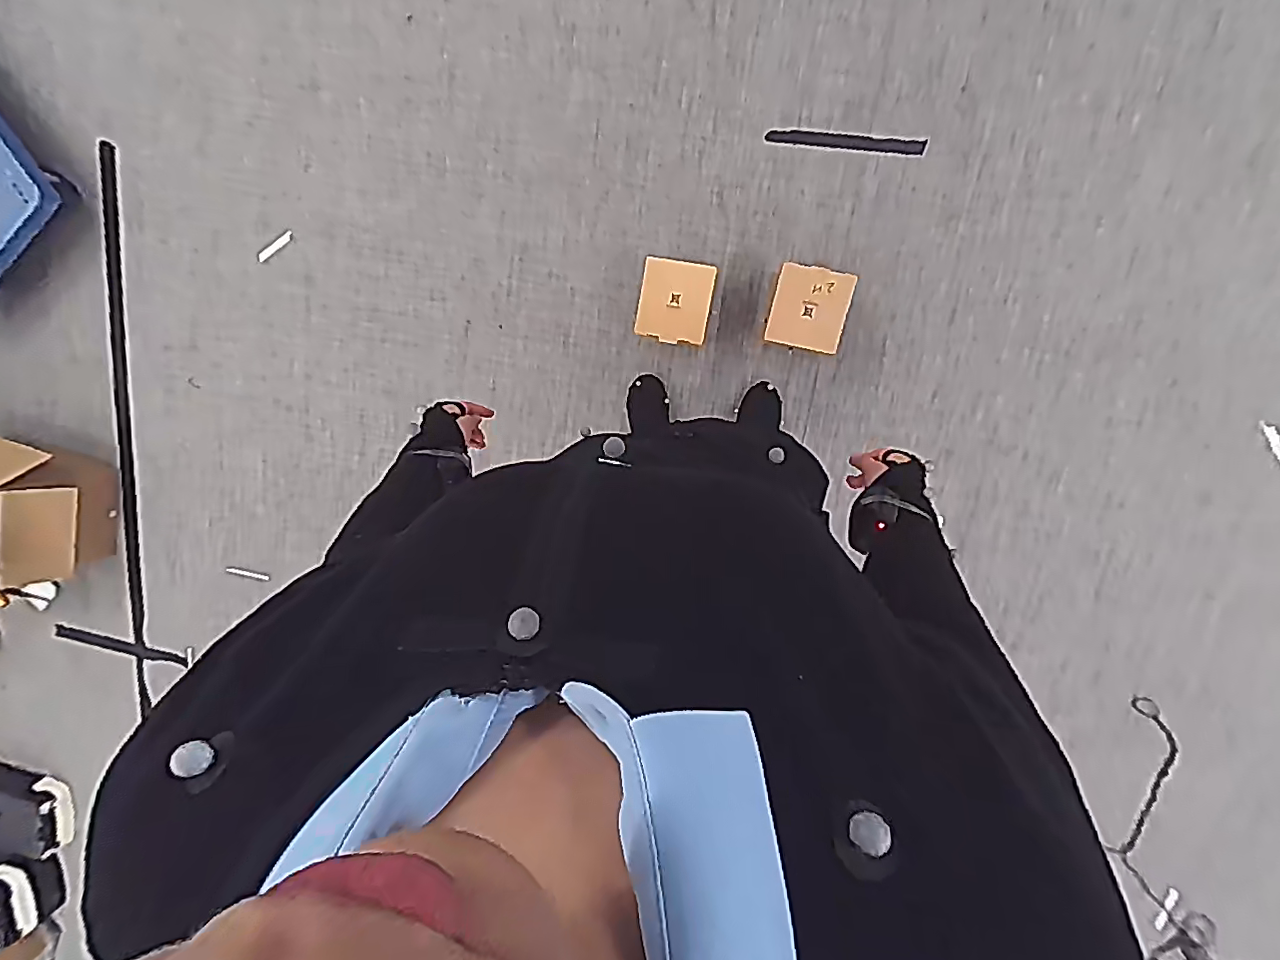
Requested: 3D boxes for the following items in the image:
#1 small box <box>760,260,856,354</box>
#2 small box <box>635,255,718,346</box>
[{"bbox_3d":[0.385,-0.399,1.276,0.168,0.176,0.179,14,103,4],"label":"small box"},{"bbox_3d":[0.090,-0.428,1.314,0.168,0.176,0.179,11,104,6],"label":"small box"}]
